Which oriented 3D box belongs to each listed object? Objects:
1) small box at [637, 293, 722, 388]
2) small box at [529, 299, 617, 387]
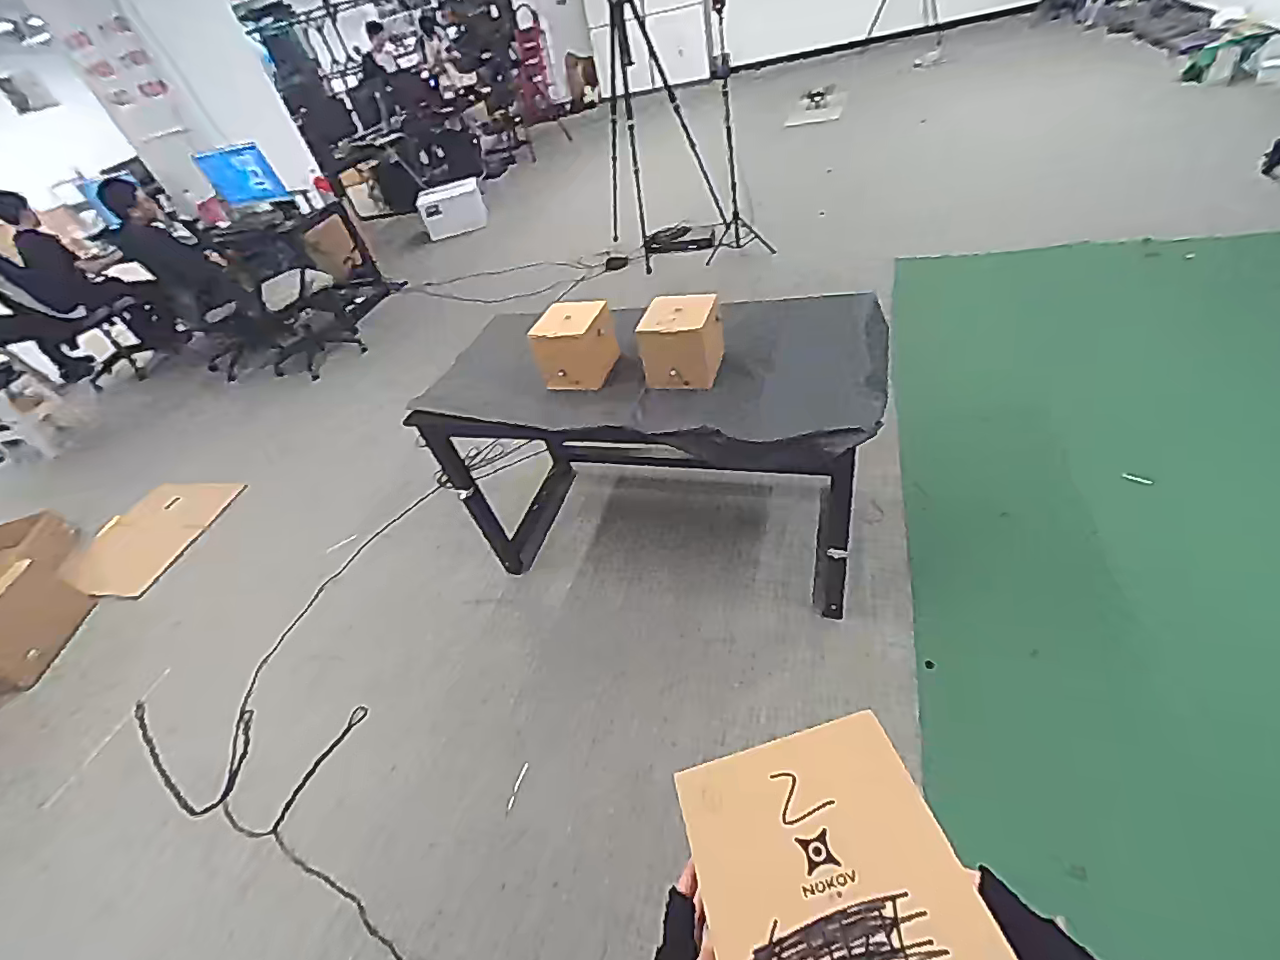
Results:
[{"bbox_3d":[0.108,-0.353,1.360,0.168,0.176,0.179,5,46,21],"label":"small box"},{"bbox_3d":[-0.172,-0.371,1.461,0.168,0.176,0.179,5,47,20],"label":"small box"}]
